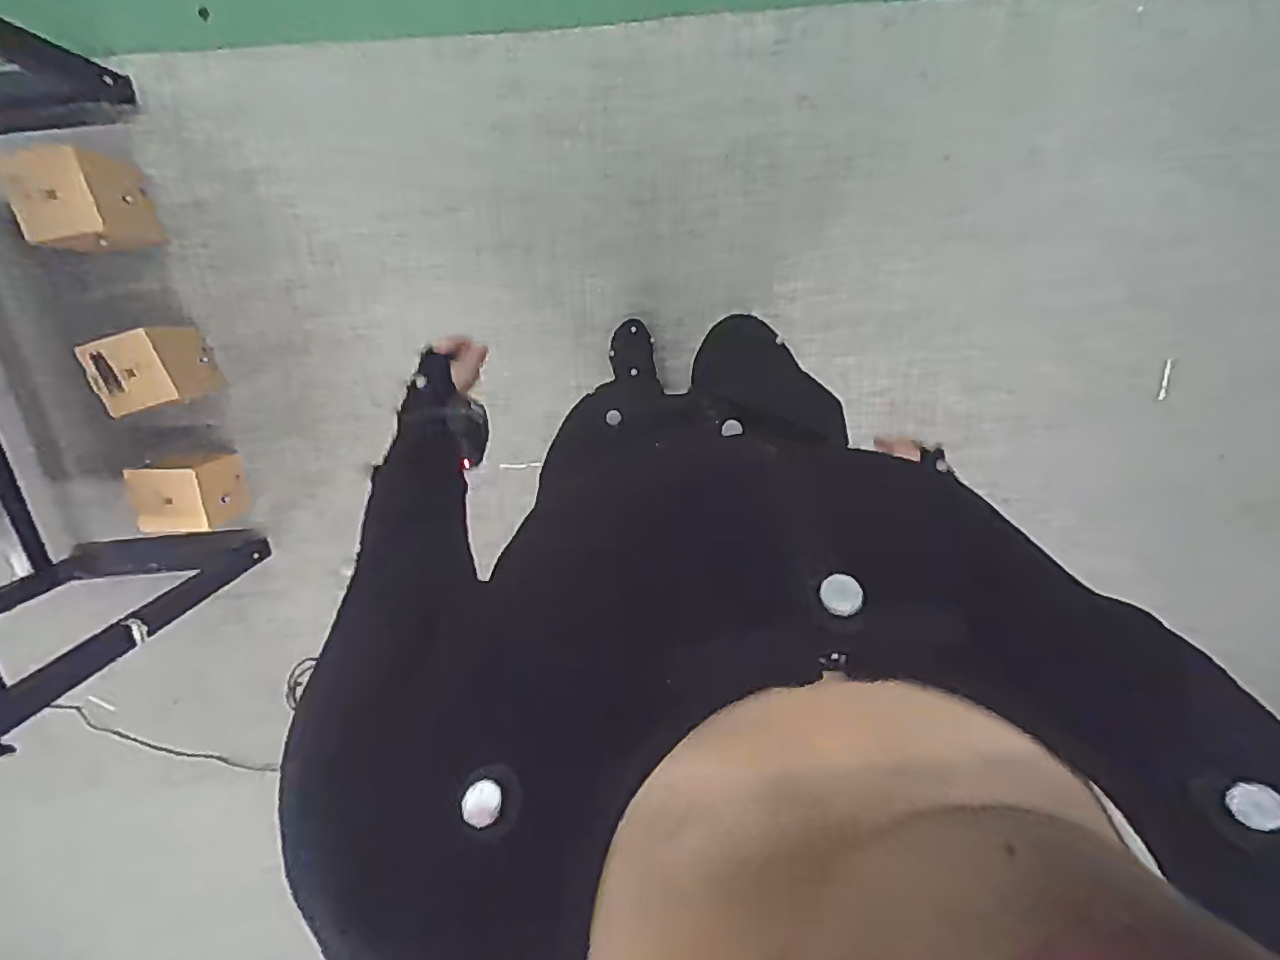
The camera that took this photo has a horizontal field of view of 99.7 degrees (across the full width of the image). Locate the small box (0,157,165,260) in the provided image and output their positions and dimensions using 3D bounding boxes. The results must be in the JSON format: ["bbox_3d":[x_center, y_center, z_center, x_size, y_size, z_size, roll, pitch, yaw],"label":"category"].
[{"bbox_3d":[-1.228,-0.600,1.213,0.179,0.176,0.168,-9,106,2],"label":"small box"}]

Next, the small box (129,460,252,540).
[{"bbox_3d":[-1.155,0.047,1.410,0.179,0.176,0.168,-1,107,-1],"label":"small box"}]
